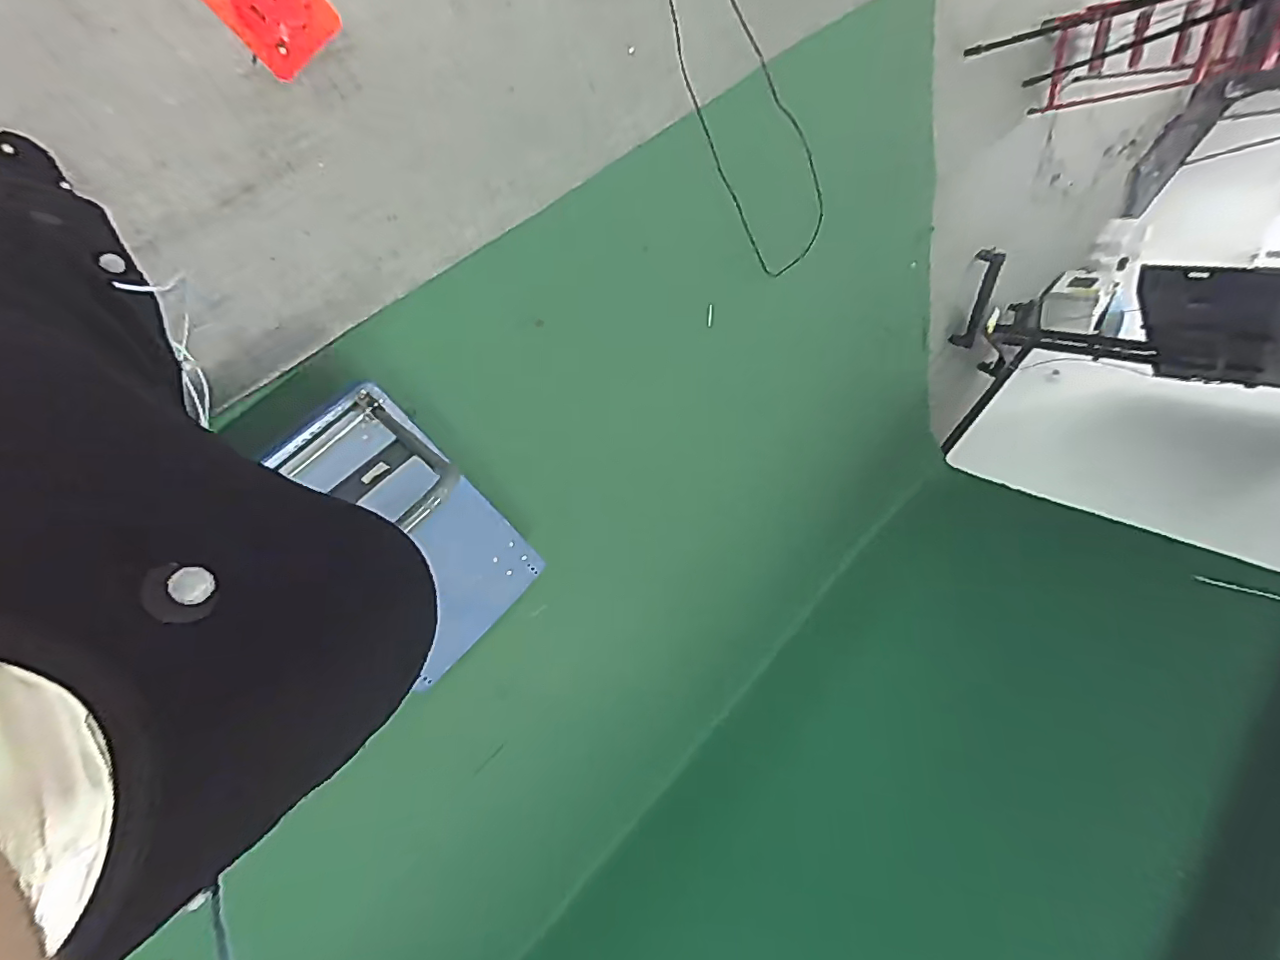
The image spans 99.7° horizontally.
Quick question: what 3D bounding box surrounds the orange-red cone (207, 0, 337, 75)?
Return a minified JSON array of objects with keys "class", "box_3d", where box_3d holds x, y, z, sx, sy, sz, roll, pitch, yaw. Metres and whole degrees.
[{"class":"orange-red cone","box_3d":[-0.655,-0.930,0.996,0.199,0.360,0.198,-54,136,-9]}]
